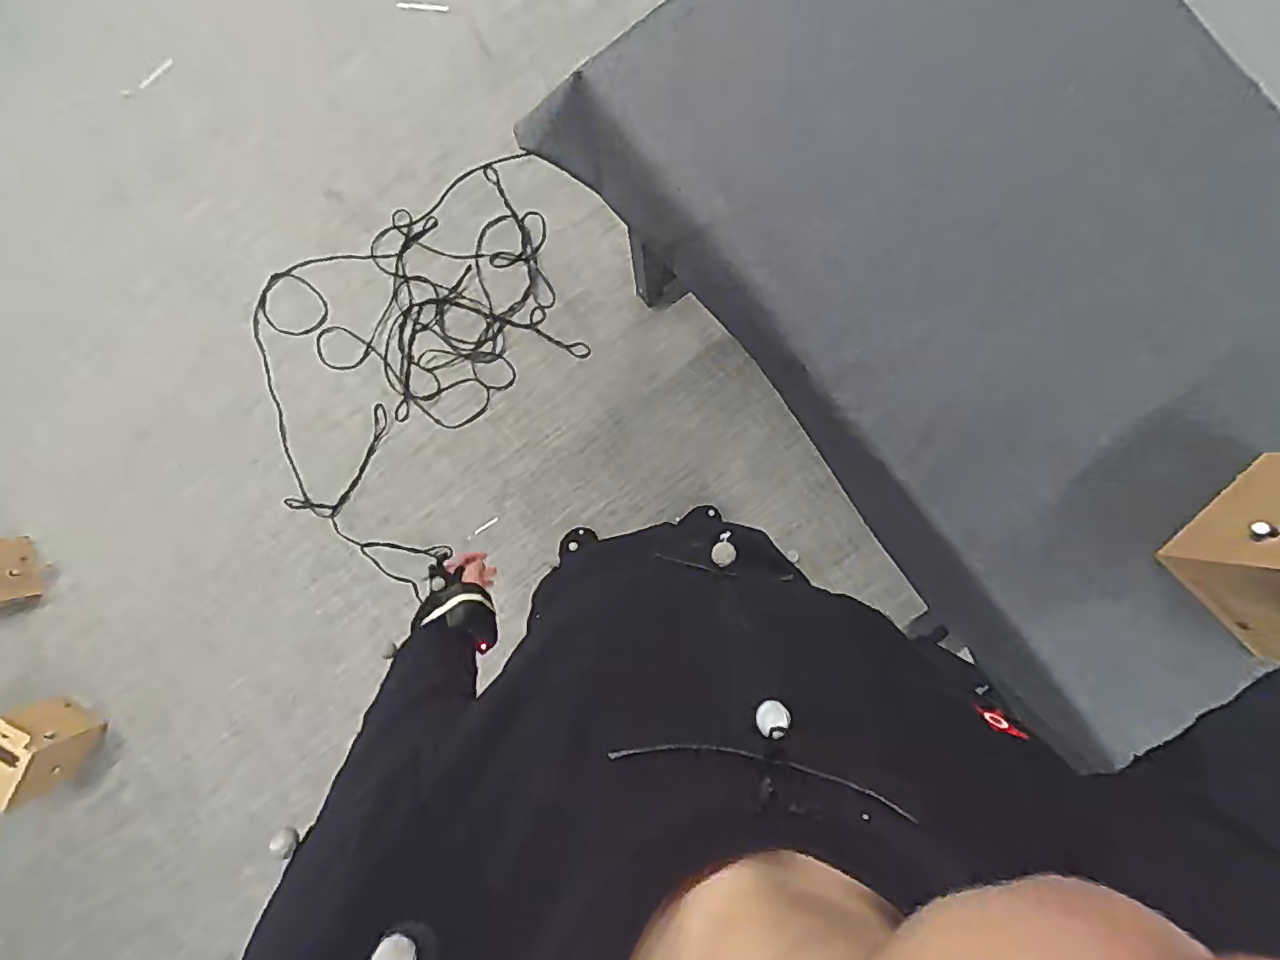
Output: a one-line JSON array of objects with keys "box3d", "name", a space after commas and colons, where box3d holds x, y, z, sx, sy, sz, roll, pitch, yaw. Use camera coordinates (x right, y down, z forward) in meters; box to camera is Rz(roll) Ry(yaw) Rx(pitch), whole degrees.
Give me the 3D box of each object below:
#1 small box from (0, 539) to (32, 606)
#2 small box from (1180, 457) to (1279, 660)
[{"box3d": [-1.710, 0.250, 1.354, 0.179, 0.176, 0.168, -16, 87, 1], "name": "small box"}, {"box3d": [0.706, 0.085, 0.531, 0.179, 0.176, 0.168, -44, 88, -1], "name": "small box"}]
